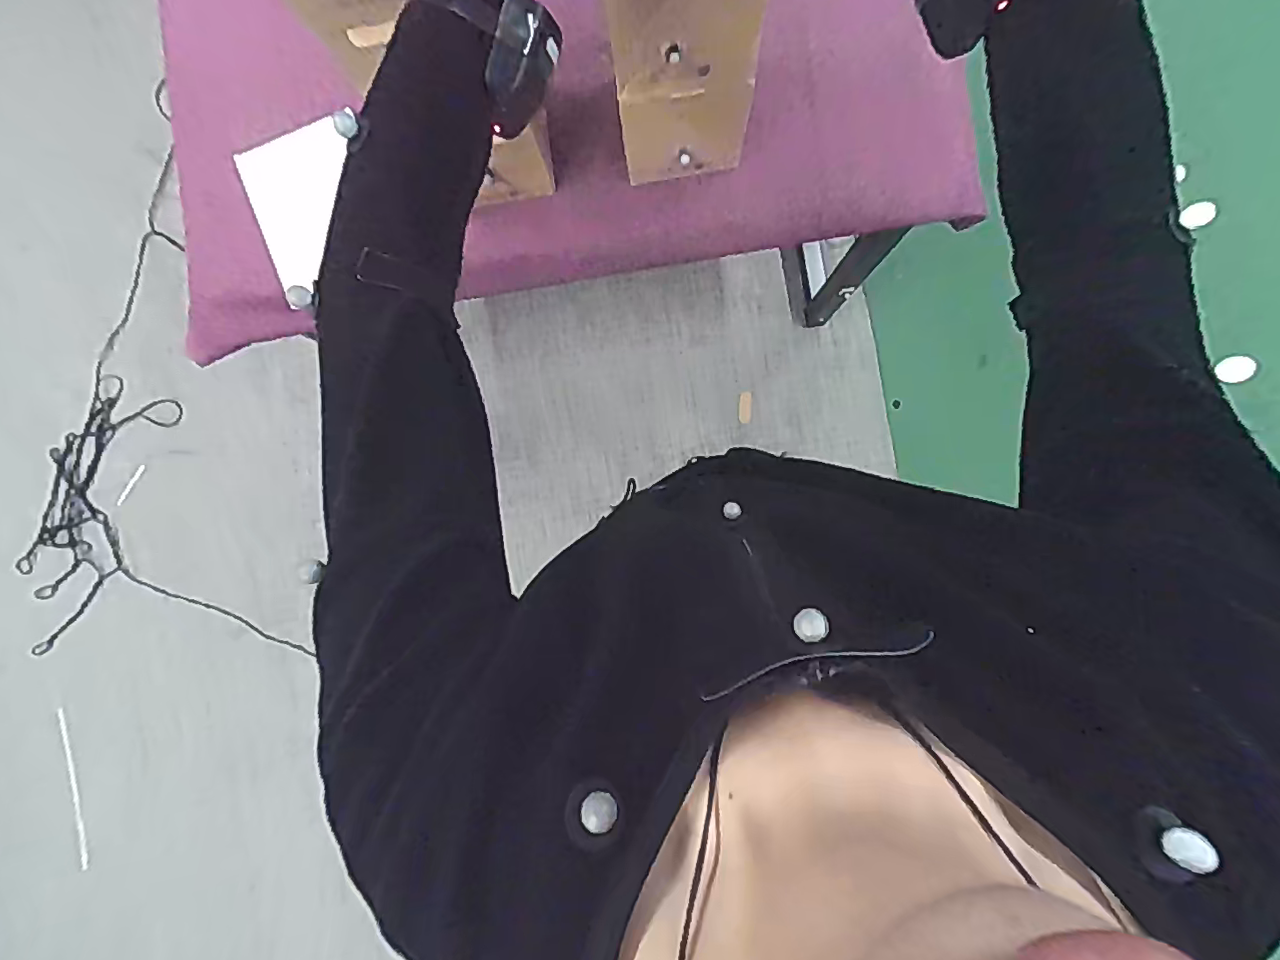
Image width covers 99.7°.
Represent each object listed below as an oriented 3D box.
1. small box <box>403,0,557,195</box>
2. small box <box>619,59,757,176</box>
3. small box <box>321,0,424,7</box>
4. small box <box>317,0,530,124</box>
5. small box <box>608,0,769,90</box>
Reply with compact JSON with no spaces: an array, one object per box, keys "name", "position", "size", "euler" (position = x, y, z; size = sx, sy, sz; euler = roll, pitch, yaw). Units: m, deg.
[{"name":"small box","position":[-0.218,-0.522,0.749],"size":[0.168,0.176,0.179],"euler":[-7,89,2]},{"name":"small box","position":[0.055,-0.554,0.734],"size":[0.168,0.176,0.179],"euler":[-7,87,4]},{"name":"small box","position":[-0.234,-0.520,0.421],"size":[0.168,0.176,0.179],"euler":[-6,88,2]},{"name":"small box","position":[-0.225,-0.521,0.584],"size":[0.168,0.176,0.179],"euler":[-8,87,3]},{"name":"small box","position":[0.043,-0.566,0.572],"size":[0.168,0.176,0.179],"euler":[-7,87,3]}]
